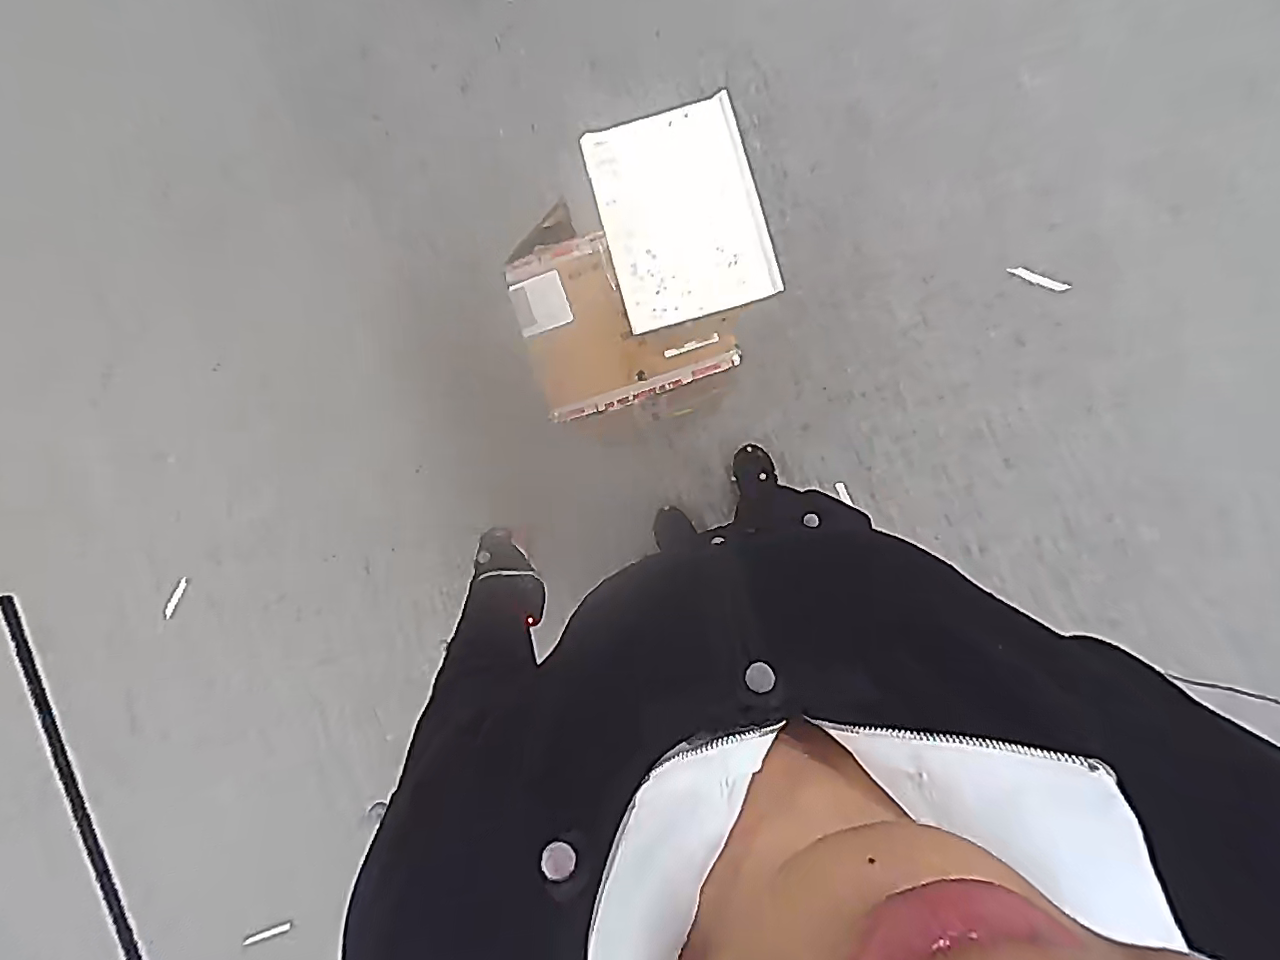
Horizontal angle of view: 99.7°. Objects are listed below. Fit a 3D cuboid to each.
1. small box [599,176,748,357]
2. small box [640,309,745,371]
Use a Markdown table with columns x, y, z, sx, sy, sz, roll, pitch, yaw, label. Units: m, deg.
| x | y | z | sx | sy | sz | roll | pitch | yaw | label |
| --- | --- | --- | --- | --- | --- | --- | --- | --- | --- |
| 0.044 | -0.301 | 0.798 | 0.168 | 0.176 | 0.179 | -16 | 90 | 1 | small box |
| 0.067 | -0.310 | 0.962 | 0.179 | 0.176 | 0.168 | -20 | 89 | 2 | small box |
